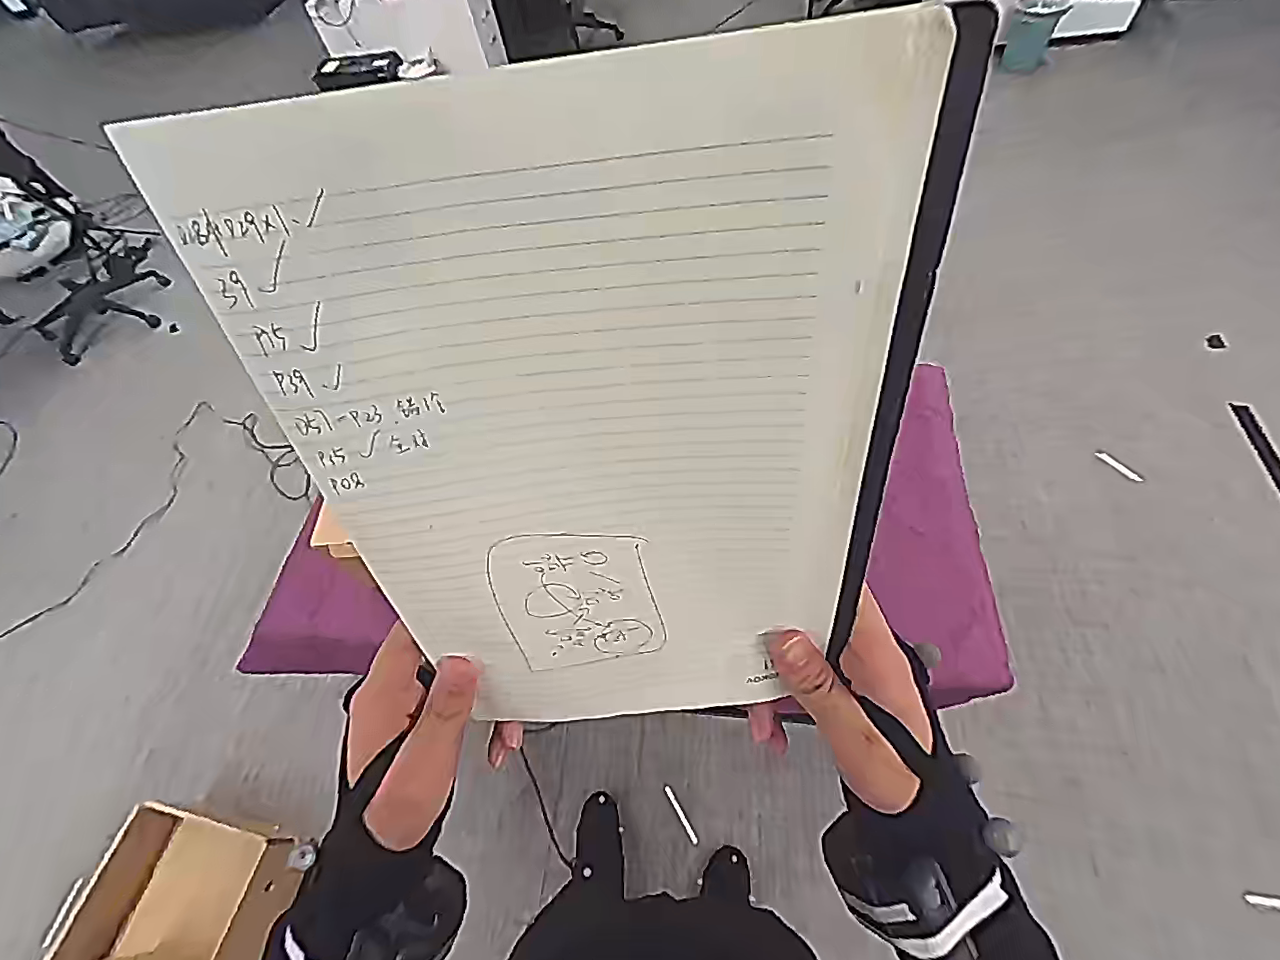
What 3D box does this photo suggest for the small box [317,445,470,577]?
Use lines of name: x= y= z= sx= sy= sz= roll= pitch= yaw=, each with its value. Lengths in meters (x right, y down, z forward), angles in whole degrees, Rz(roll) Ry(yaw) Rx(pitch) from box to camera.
small box: x=-0.411 y=0.062 z=0.939 sx=0.168 sy=0.176 sz=0.179 roll=-4 pitch=58 yaw=5
